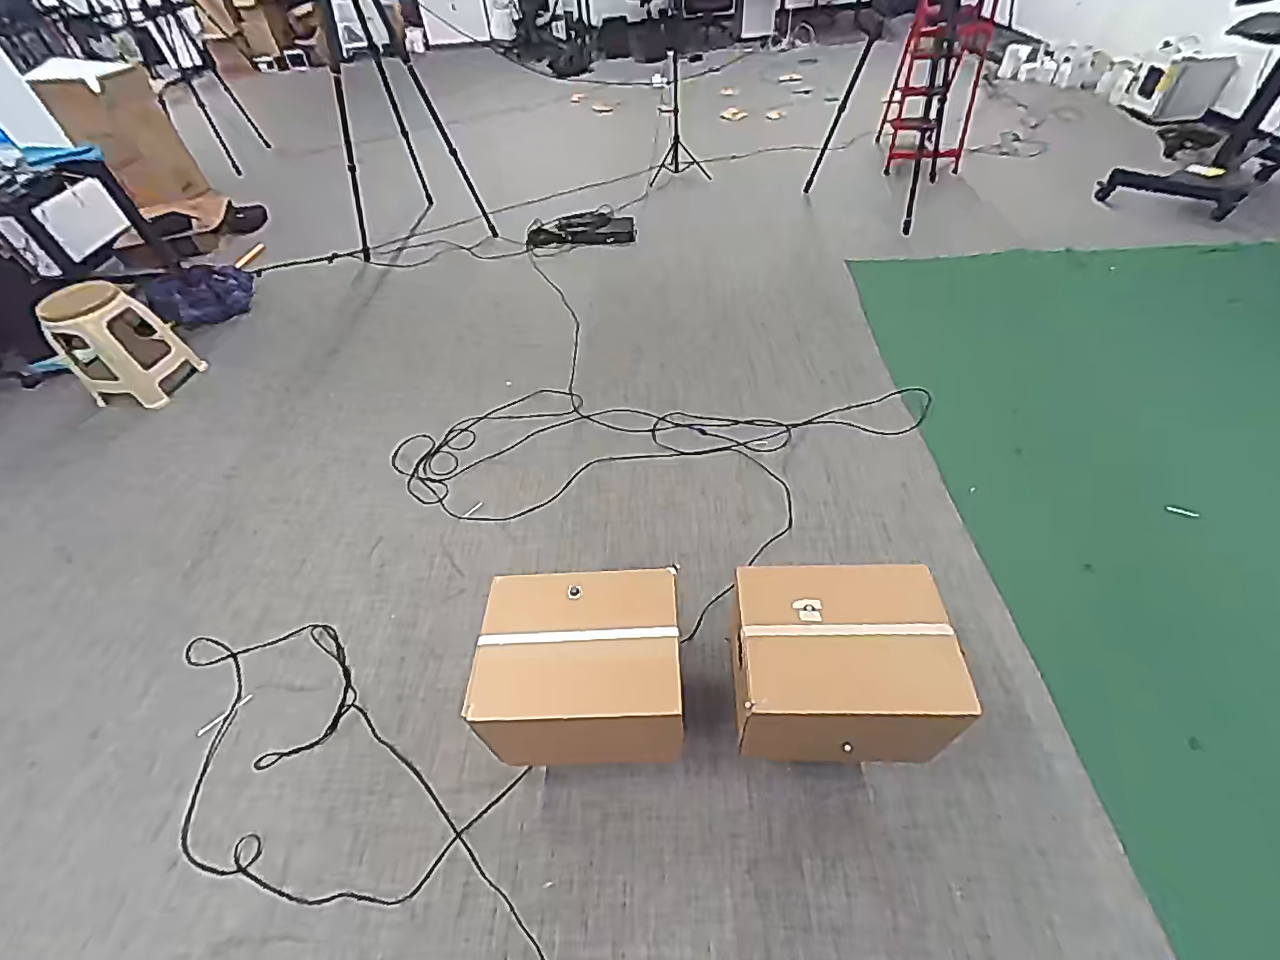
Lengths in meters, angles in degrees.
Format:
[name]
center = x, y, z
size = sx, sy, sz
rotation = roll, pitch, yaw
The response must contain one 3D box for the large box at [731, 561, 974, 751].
[large box]
center = 0.420, 0.395, 1.191
size = 0.408, 0.320, 0.320
rotation = -2, 48, 5
